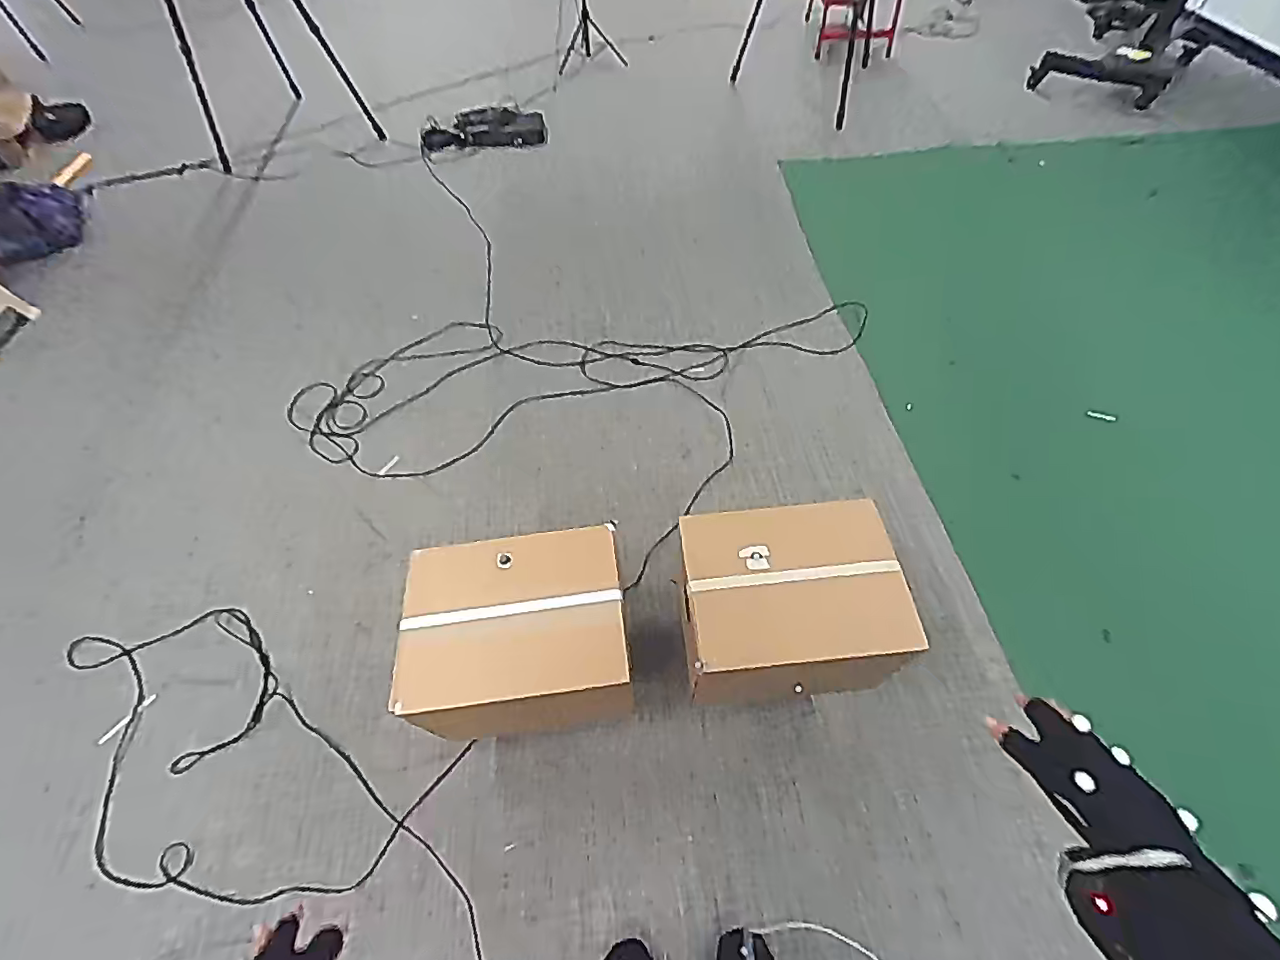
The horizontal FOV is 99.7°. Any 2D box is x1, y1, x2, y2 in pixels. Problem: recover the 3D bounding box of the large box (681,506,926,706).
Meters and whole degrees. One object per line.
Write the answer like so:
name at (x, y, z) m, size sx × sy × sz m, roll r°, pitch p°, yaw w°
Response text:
large box at (0.308, 0.280, 1.161) m, size 0.408 × 0.320 × 0.320 m, roll -5°, pitch 56°, yaw -1°
